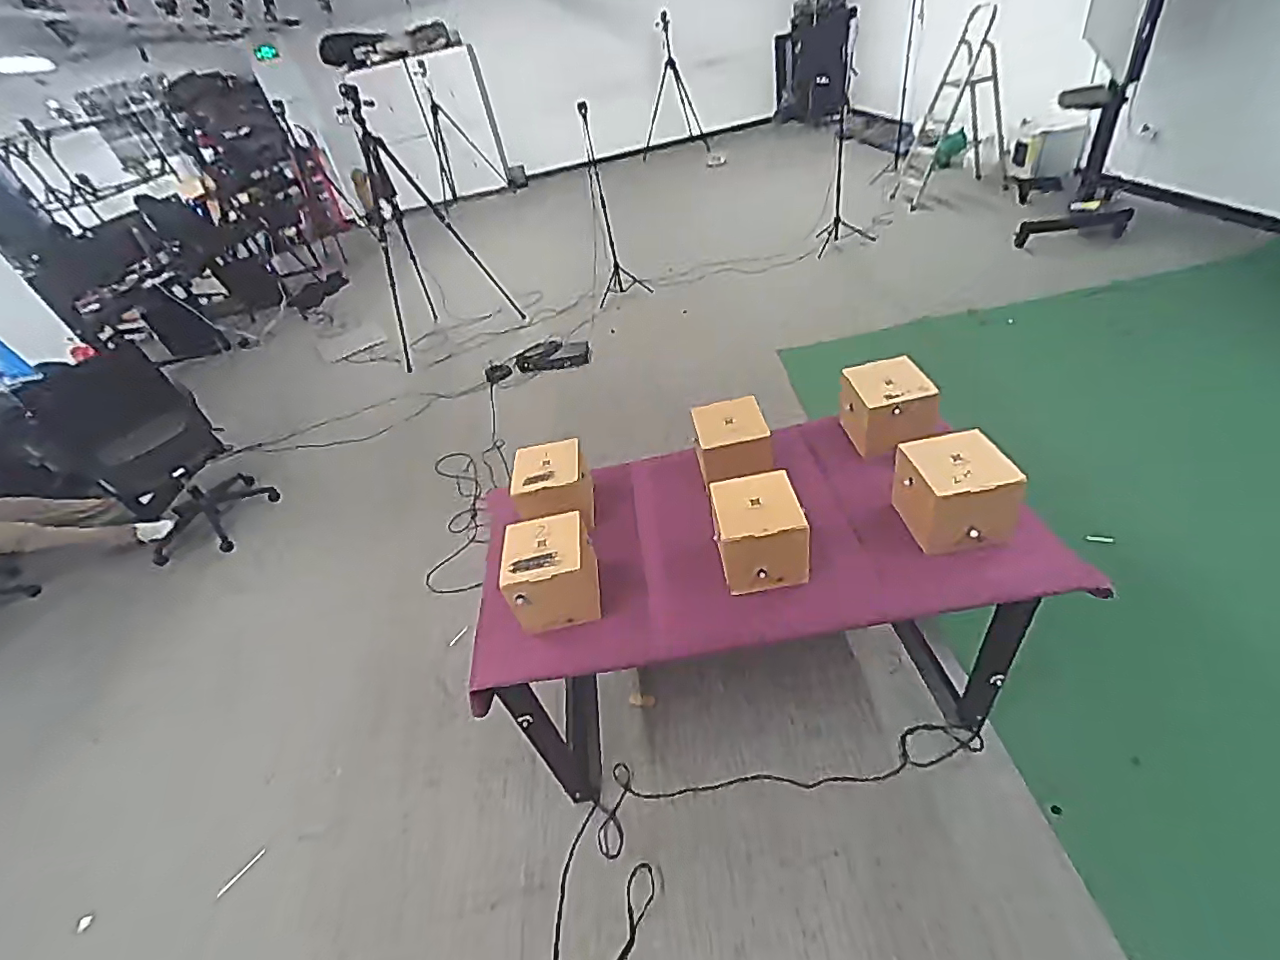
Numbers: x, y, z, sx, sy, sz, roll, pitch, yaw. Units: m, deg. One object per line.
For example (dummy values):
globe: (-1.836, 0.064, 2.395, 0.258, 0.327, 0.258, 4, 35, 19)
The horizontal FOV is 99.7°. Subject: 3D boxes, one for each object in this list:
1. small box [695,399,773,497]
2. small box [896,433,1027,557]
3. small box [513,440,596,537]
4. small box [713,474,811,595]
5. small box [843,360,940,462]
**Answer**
small box: (0.237, -0.078, 1.372, 0.168, 0.176, 0.179, -11, 41, 4)
small box: (0.647, 0.031, 1.117, 0.168, 0.176, 0.179, -11, 38, 5)
small box: (-0.209, 0.028, 1.372, 0.168, 0.176, 0.179, -10, 40, 3)
small box: (0.253, 0.114, 1.140, 0.168, 0.176, 0.179, -10, 39, 4)
small box: (0.623, -0.173, 1.364, 0.168, 0.176, 0.179, -13, 41, 5)
